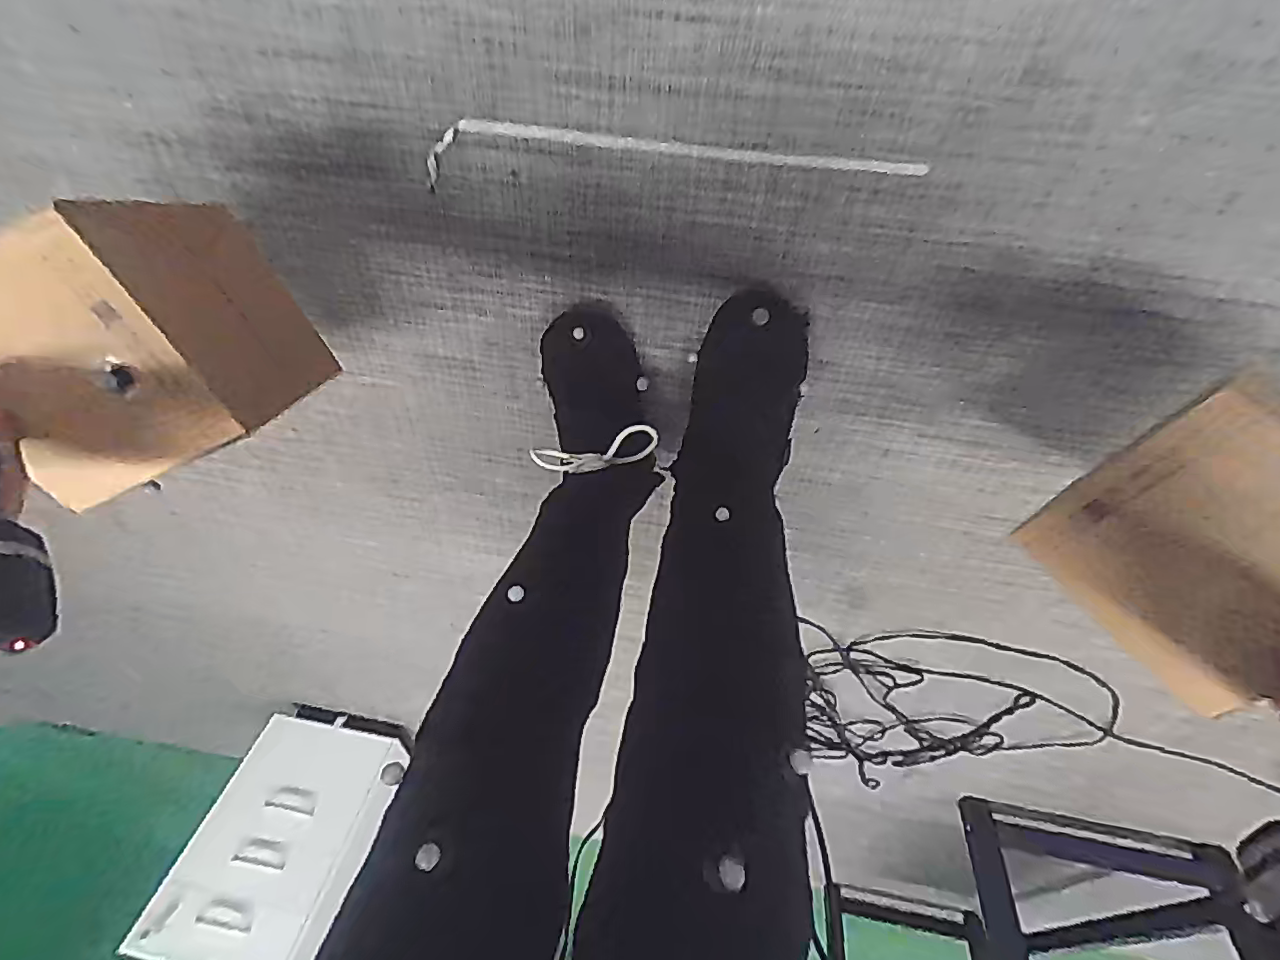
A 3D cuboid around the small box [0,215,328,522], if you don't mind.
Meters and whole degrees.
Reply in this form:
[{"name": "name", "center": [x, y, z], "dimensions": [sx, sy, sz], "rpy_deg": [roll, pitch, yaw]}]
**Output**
[{"name": "small box", "center": [-0.401, -0.099, 0.444], "dimensions": [0.176, 0.179, 0.168], "rpy_deg": [-23, 116, 5]}]
